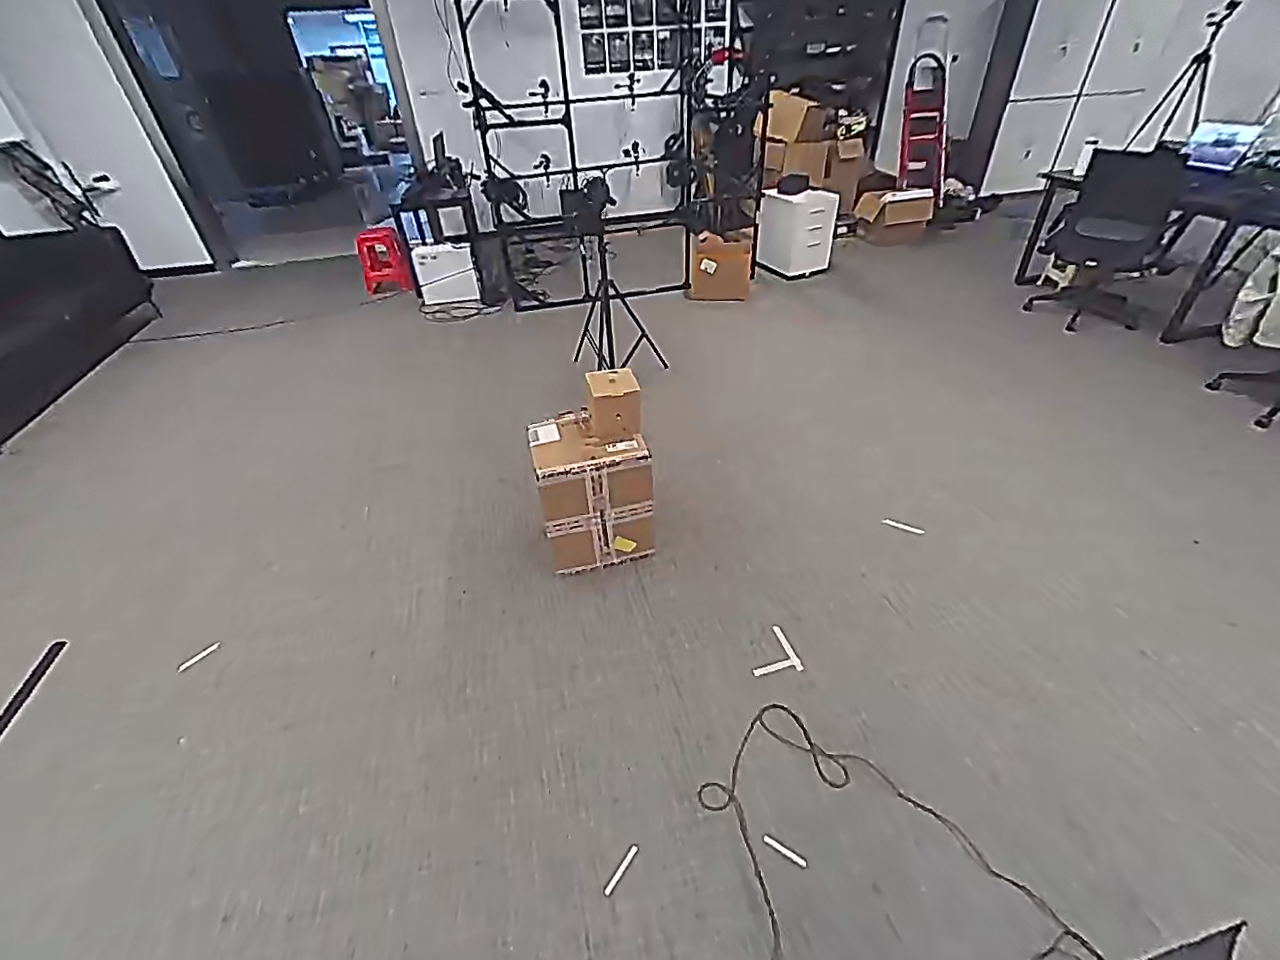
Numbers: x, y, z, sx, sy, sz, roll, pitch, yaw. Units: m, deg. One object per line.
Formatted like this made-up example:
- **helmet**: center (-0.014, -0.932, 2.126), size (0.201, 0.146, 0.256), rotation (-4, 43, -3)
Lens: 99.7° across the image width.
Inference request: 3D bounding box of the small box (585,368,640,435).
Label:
- **small box**: center (-0.097, -0.273, 1.916), size (0.168, 0.176, 0.179), rotation (-9, 41, -11)
